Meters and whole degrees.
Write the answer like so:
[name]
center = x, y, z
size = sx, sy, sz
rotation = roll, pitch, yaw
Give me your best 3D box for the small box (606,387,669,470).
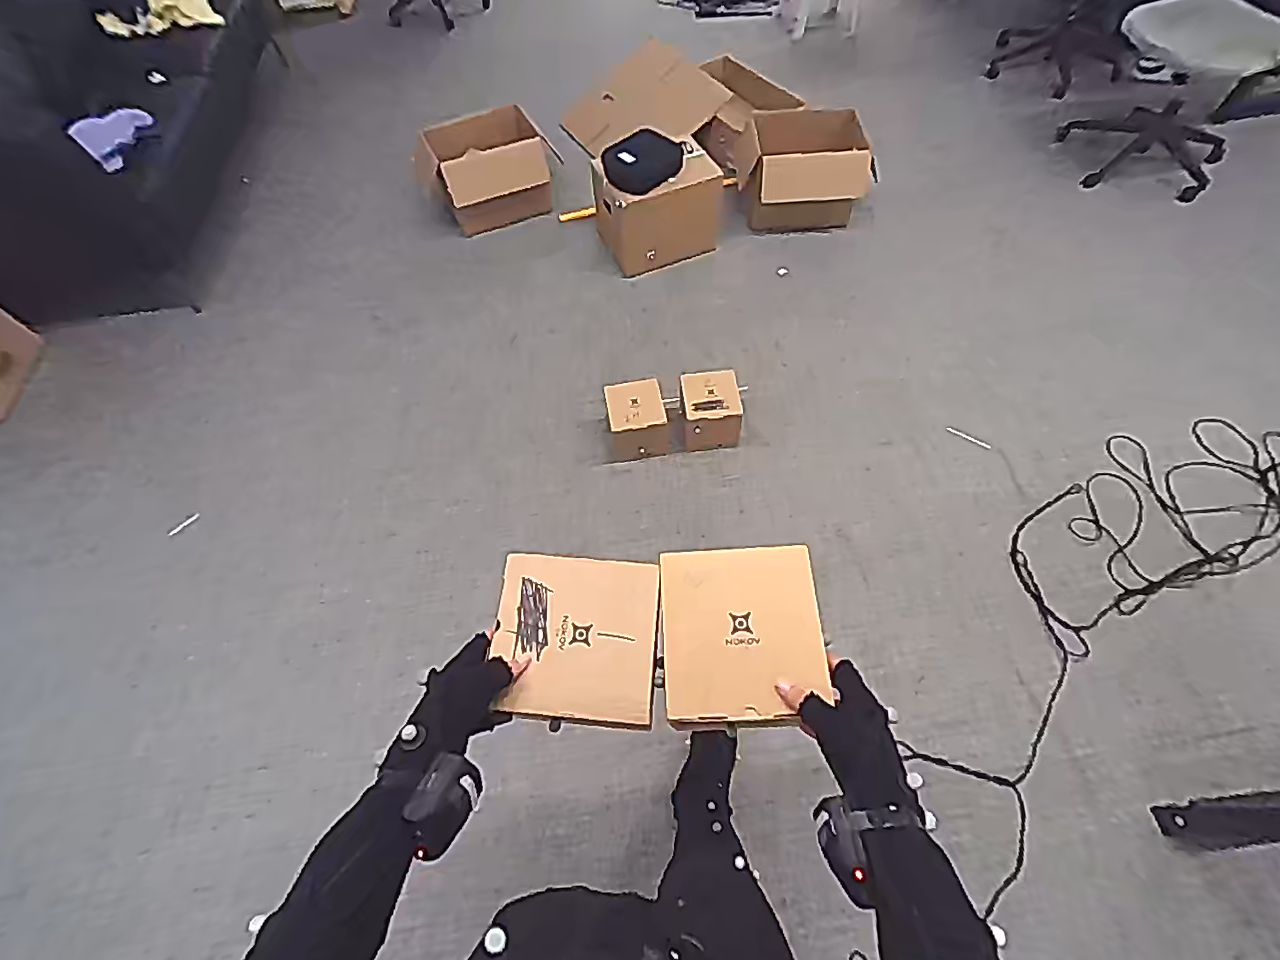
[small box]
center = -0.008, -0.157, 1.662
size = 0.168, 0.176, 0.179
rotation = -10, 58, -2
